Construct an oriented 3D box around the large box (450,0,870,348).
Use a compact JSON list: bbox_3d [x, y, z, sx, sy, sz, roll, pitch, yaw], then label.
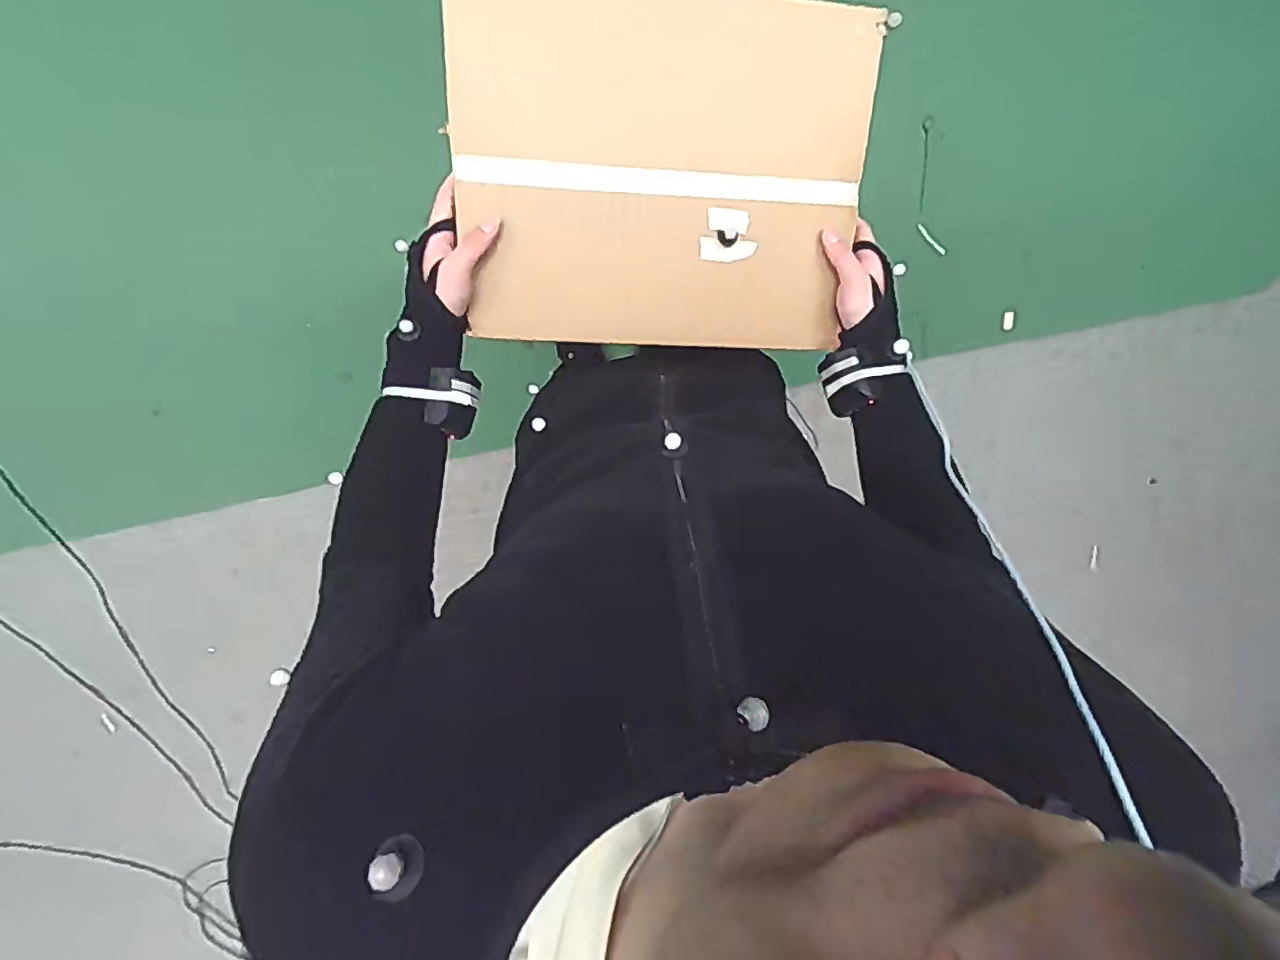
[{"bbox_3d":[0.003,-0.344,0.687,0.408,0.320,0.320,0,110,-8],"label":"large box"}]
